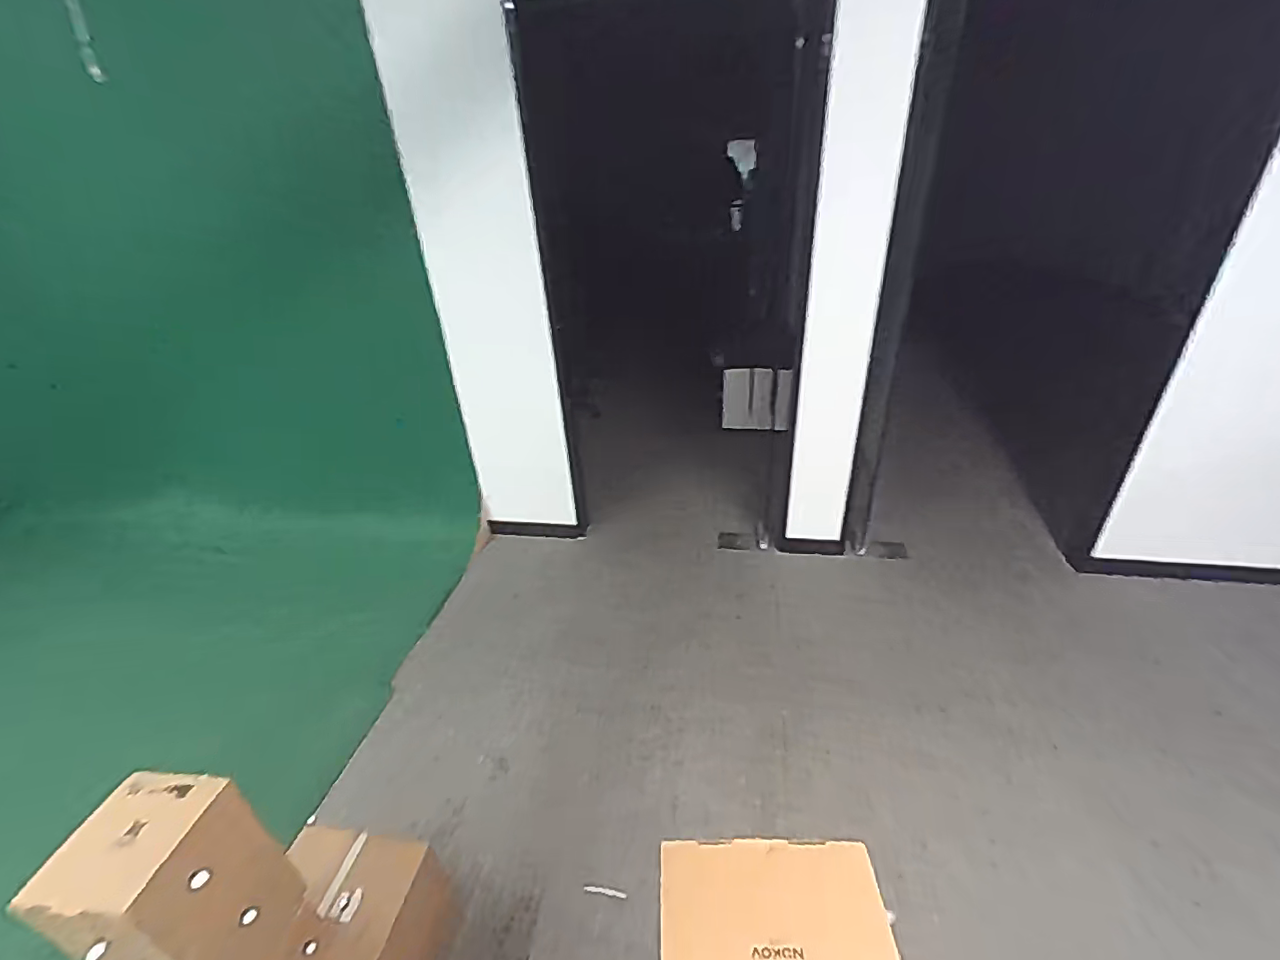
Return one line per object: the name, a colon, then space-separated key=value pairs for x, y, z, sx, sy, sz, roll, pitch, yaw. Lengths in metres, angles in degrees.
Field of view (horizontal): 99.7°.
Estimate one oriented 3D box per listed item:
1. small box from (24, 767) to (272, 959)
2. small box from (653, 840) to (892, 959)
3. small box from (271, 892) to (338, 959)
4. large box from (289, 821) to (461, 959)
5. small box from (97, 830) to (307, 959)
small box: x=-0.686 y=0.553 z=0.784 sx=0.168 sy=0.176 sz=0.179 roll=1 pitch=30 yaw=7
small box: x=0.097 y=0.406 z=0.402 sx=0.168 sy=0.176 sz=0.179 roll=-2 pitch=28 yaw=3
small box: x=-0.670 y=0.839 z=0.943 sx=0.179 sy=0.176 sz=0.168 roll=1 pitch=30 yaw=9
large box: x=-0.628 y=1.015 z=1.121 sx=0.320 sy=0.320 sz=0.408 roll=2 pitch=30 yaw=10
small box: x=-0.678 y=0.694 z=0.867 sx=0.168 sy=0.176 sz=0.179 roll=0 pitch=29 yaw=5
